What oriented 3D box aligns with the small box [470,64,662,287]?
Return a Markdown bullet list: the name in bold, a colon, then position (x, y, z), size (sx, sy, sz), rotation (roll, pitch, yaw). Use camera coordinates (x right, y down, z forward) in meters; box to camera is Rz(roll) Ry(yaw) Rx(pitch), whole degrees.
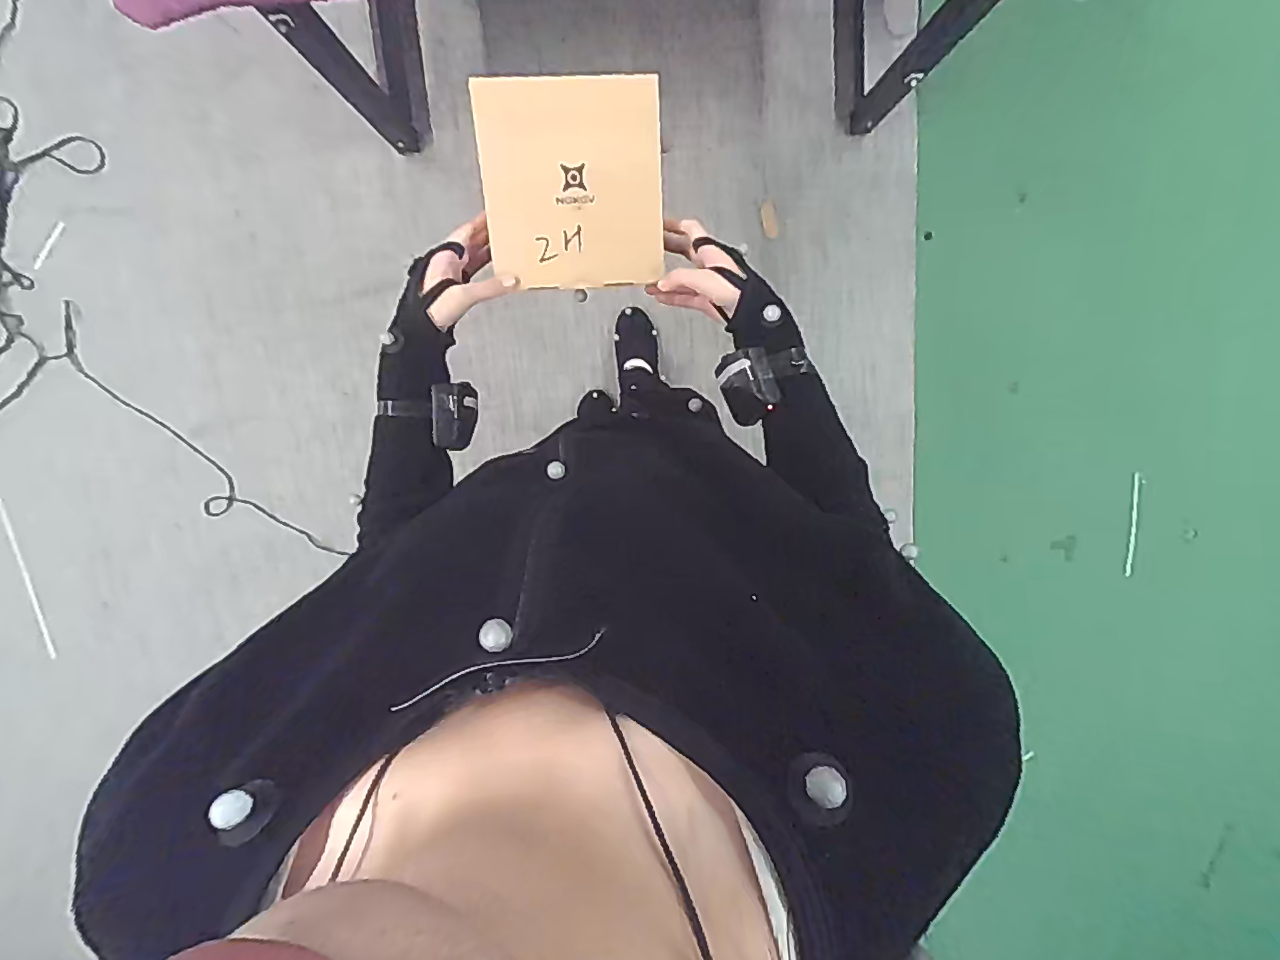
- **small box**: position (-0.071, -0.299, 0.566), size (0.168, 0.176, 0.179), rotation (-4, 110, -5)
